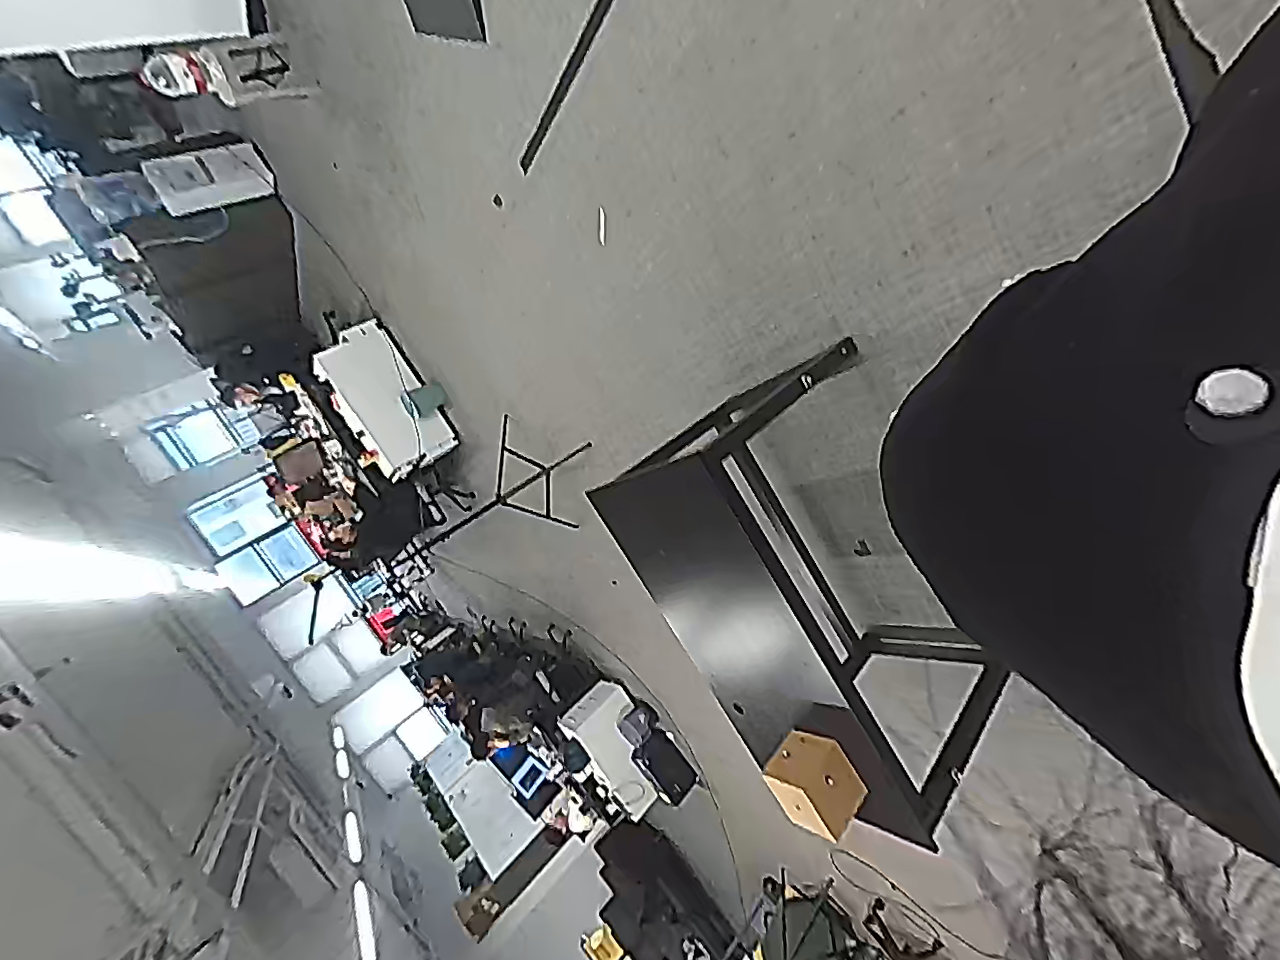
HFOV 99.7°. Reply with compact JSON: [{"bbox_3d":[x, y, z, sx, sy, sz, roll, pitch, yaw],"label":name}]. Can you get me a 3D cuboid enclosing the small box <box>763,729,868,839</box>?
[{"bbox_3d":[0.477,0.812,1.467,0.179,0.176,0.168,57,151,-6],"label":"small box"}]
